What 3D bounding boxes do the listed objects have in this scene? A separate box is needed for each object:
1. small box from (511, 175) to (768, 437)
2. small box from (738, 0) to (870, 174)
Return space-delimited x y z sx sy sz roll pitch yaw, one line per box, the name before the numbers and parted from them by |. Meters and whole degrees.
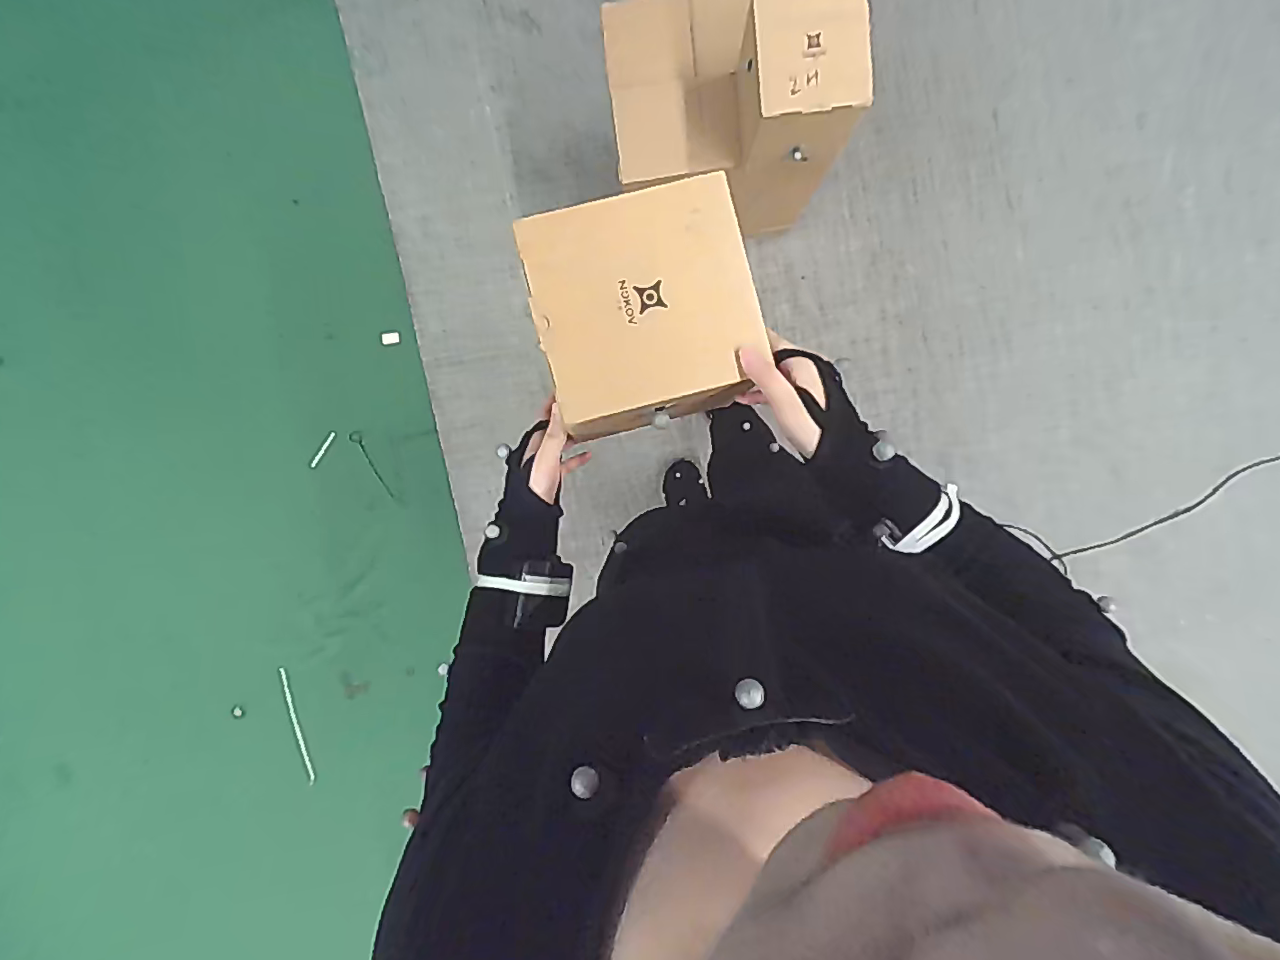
small box | -0.002 -0.143 0.506 0.179 0.176 0.168 -14 89 -1
small box | 0.254 -0.627 0.869 0.168 0.176 0.179 -5 94 3
